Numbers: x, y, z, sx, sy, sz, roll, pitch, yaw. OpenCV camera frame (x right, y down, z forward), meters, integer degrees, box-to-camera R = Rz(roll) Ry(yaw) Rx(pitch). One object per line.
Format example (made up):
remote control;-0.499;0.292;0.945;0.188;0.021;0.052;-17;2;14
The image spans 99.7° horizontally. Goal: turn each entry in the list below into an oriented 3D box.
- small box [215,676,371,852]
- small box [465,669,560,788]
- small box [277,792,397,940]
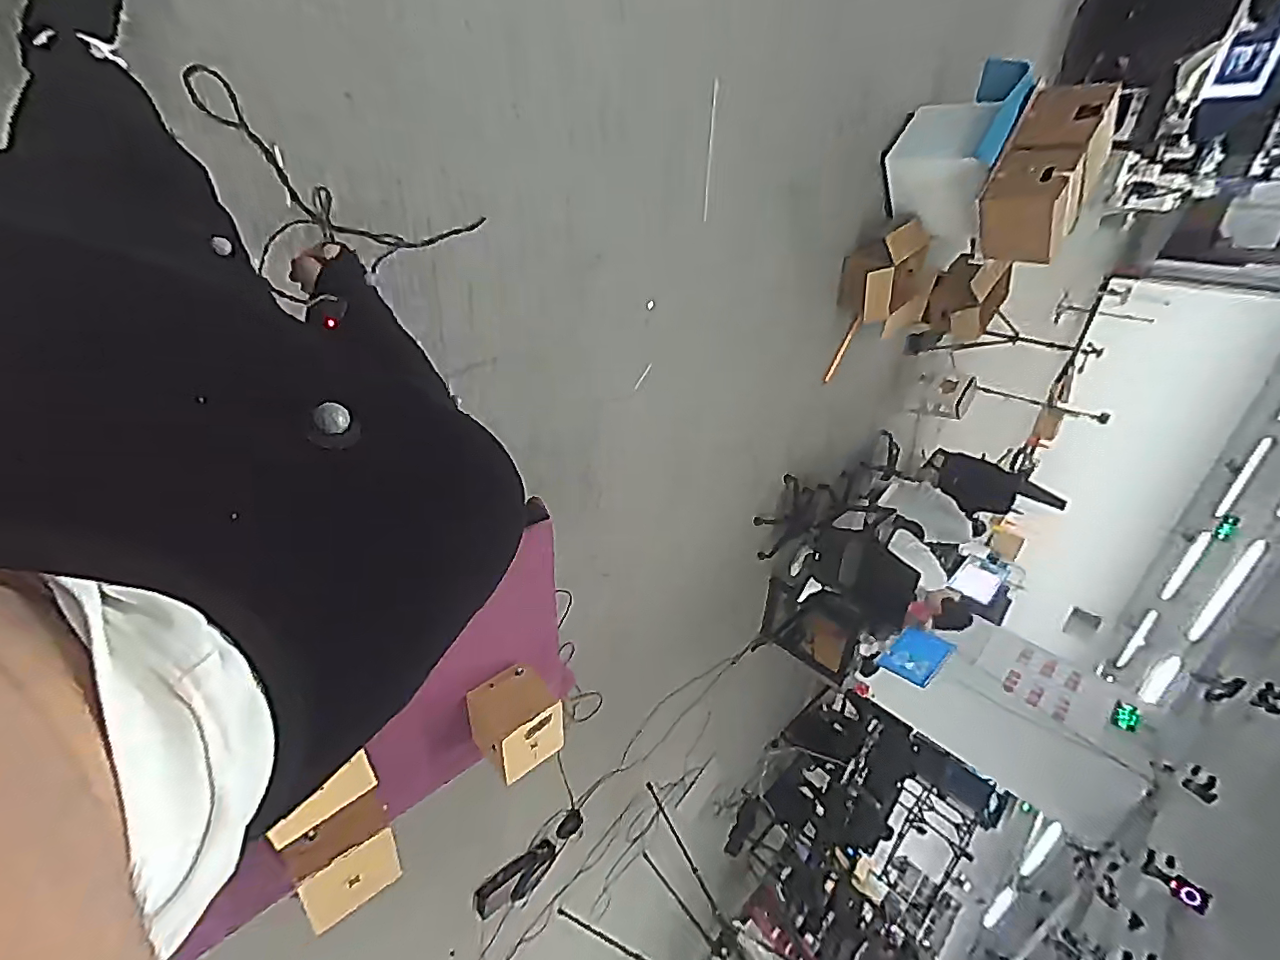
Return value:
small box;-0.600;0.482;0.941;0.168;0.176;0.179;-26;130;-37
small box;-0.314;0.595;1.326;0.168;0.176;0.179;-23;128;-38
small box;-0.613;0.743;1.084;0.168;0.176;0.179;-20;126;-40
